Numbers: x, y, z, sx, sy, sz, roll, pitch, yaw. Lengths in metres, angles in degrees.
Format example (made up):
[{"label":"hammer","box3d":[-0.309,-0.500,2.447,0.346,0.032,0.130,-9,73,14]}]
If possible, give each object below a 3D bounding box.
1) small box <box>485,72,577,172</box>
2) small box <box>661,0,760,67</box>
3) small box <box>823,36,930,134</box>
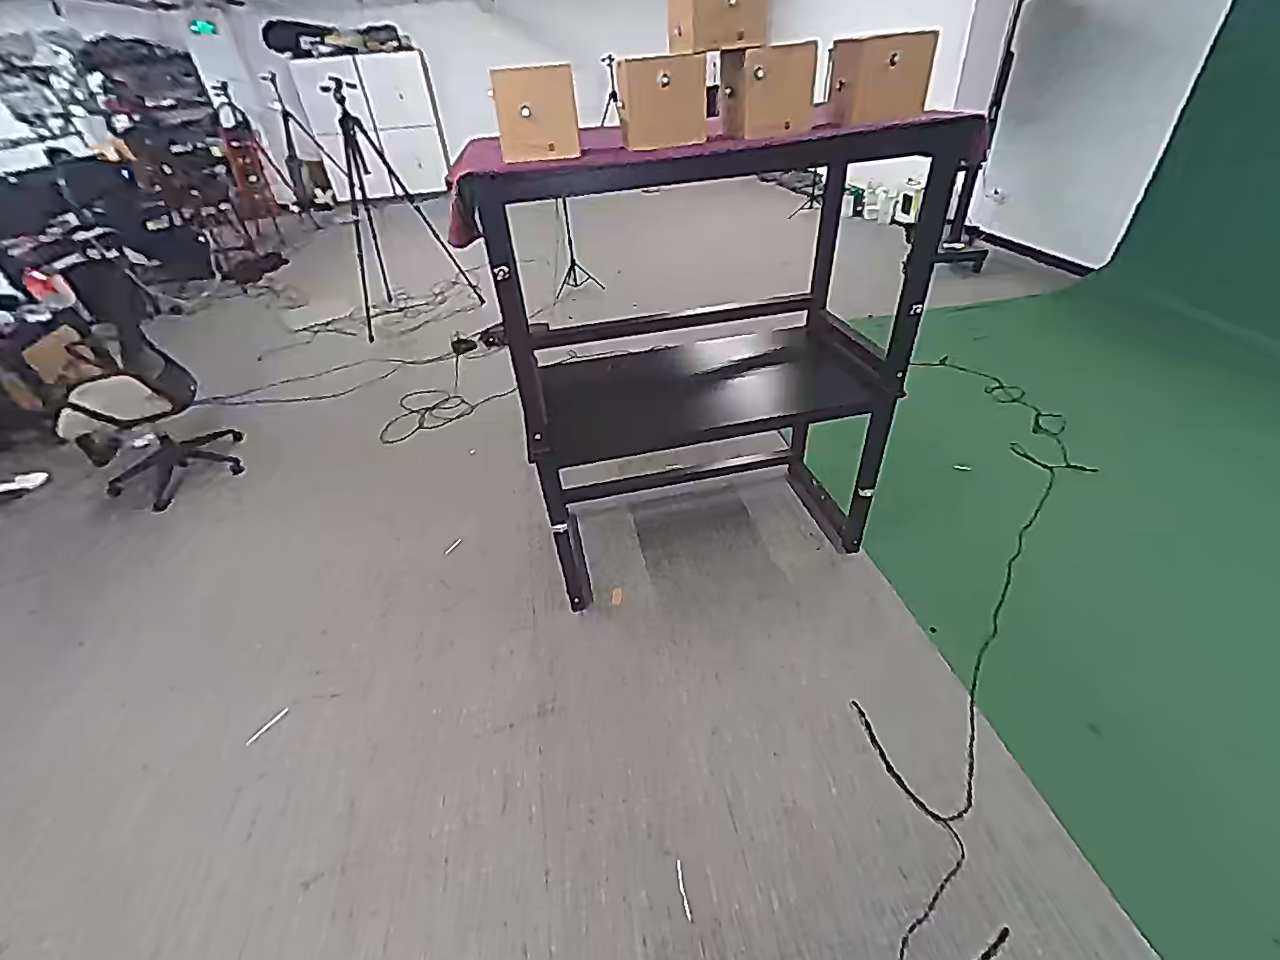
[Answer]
[{"label":"small box","box3d":[-0.235,-0.788,1.196,0.168,0.176,0.179,-8,36,-4]},{"label":"small box","box3d":[0.148,-0.991,1.142,0.168,0.176,0.179,-12,38,-8]},{"label":"small box","box3d":[0.547,-0.935,1.284,0.179,0.176,0.168,-9,39,-3]}]
